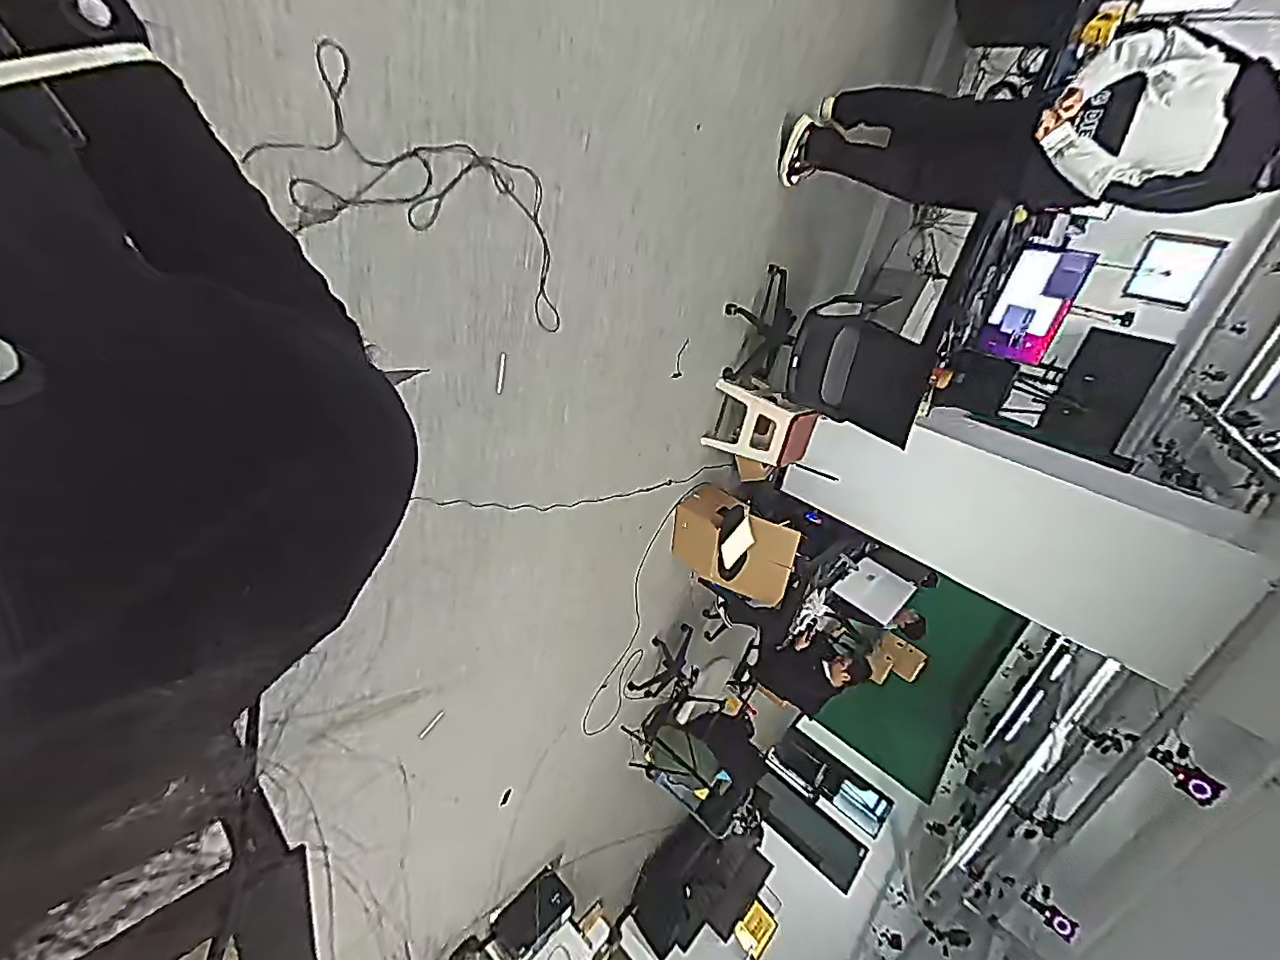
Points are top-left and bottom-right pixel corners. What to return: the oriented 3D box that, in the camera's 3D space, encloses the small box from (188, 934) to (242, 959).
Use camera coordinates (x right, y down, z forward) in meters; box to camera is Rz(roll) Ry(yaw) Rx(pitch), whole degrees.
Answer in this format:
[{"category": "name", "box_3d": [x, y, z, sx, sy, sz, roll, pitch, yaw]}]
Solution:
[{"category": "small box", "box_3d": [-0.798, 0.978, 0.961, 0.179, 0.176, 0.168, -16, 128, -48]}]
